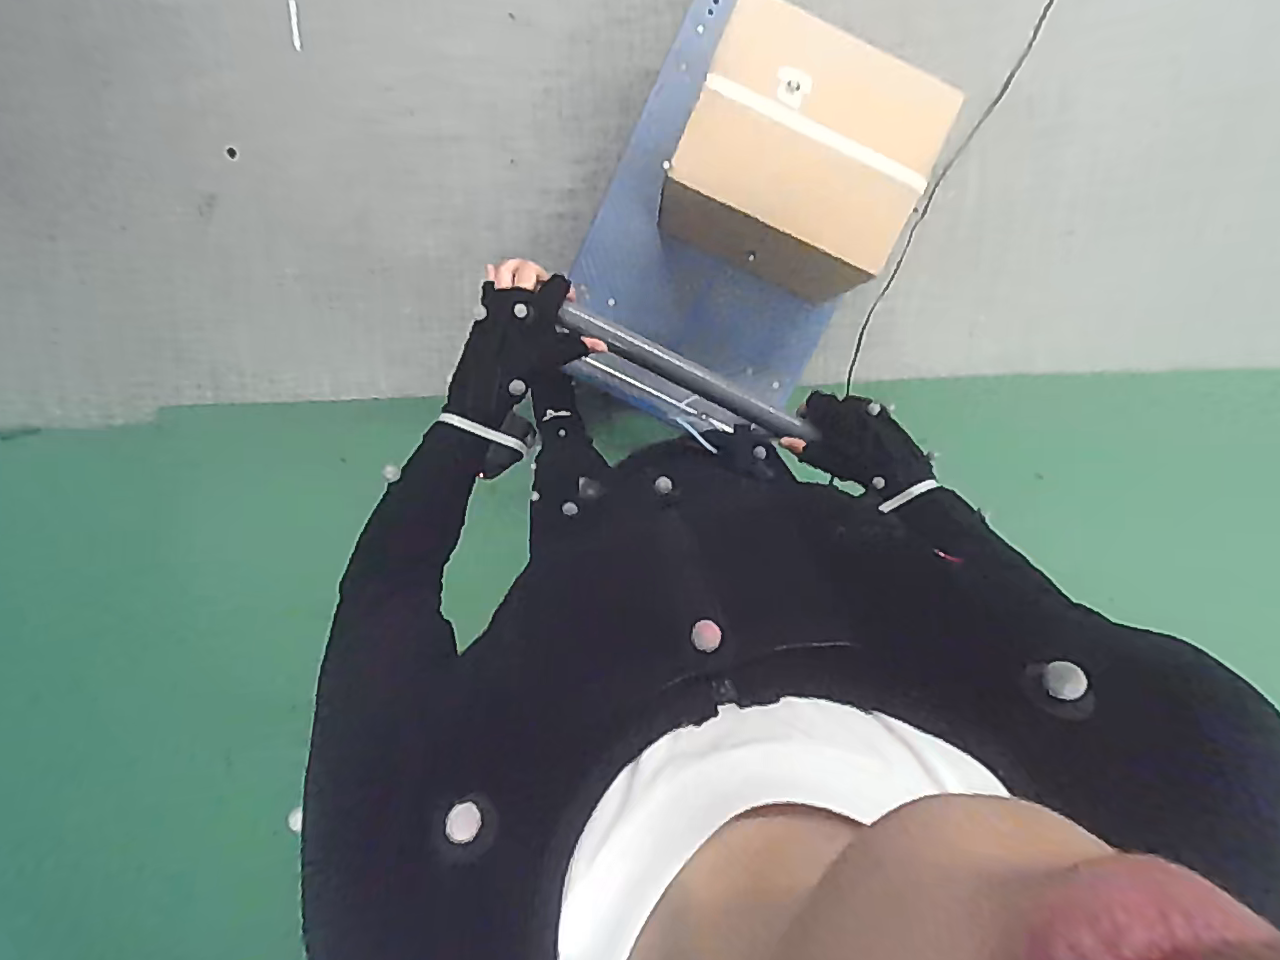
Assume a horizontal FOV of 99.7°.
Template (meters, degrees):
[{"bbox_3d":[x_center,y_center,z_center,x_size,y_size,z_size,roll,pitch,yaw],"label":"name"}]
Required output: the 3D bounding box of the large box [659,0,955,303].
[{"bbox_3d":[0.279,-0.583,1.039,0.408,0.320,0.320,24,97,-3],"label":"large box"}]
